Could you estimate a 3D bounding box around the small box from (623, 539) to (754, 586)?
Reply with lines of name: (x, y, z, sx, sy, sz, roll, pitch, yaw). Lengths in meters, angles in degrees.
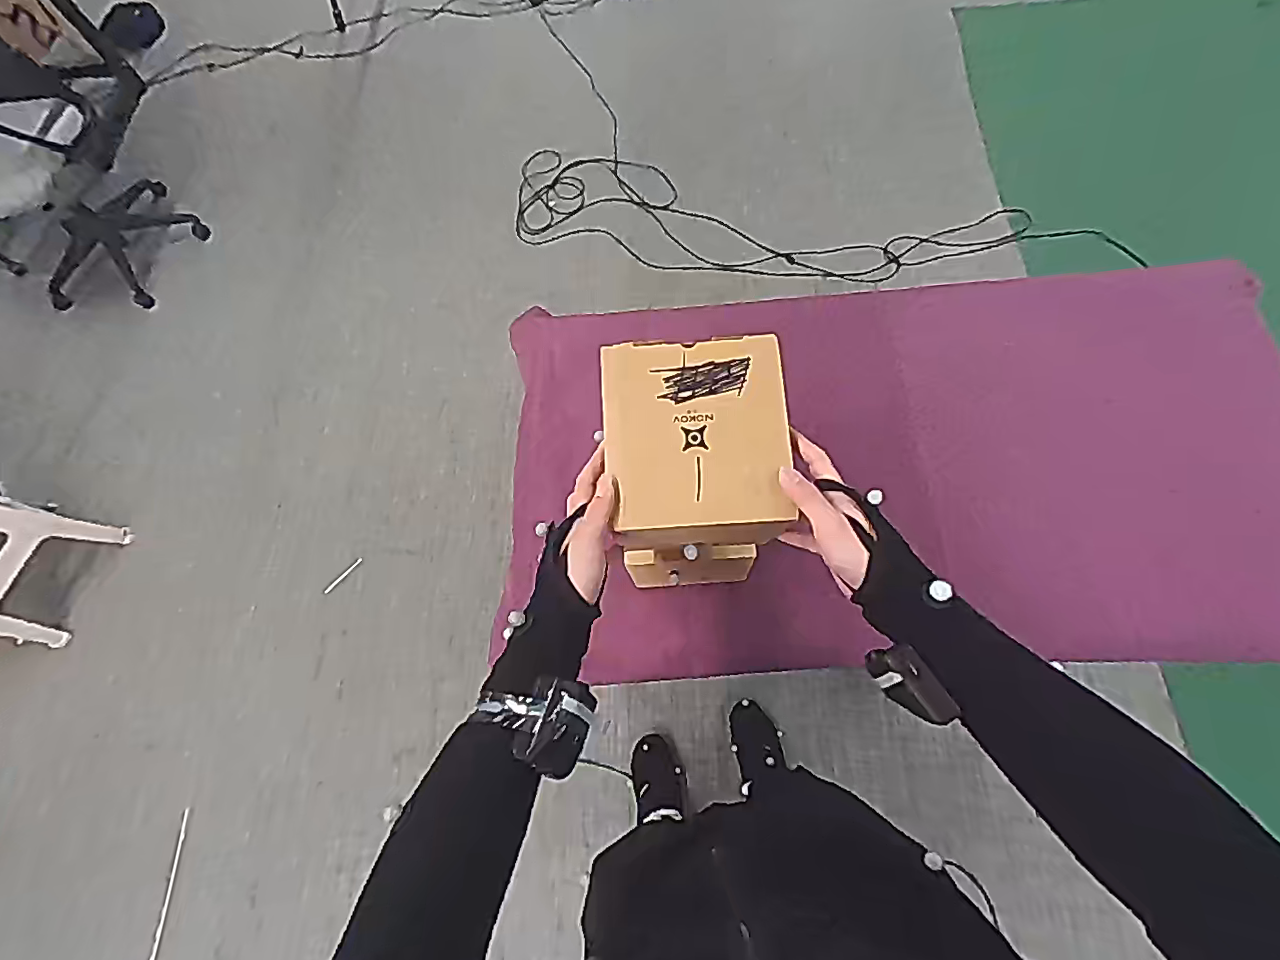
small box: (0.067, 0.052, 0.771, 0.168, 0.176, 0.179, -5, 68, 4)

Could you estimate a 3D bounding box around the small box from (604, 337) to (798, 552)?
small box: (0.054, -0.025, 0.556, 0.168, 0.176, 0.179, -4, 77, 3)
